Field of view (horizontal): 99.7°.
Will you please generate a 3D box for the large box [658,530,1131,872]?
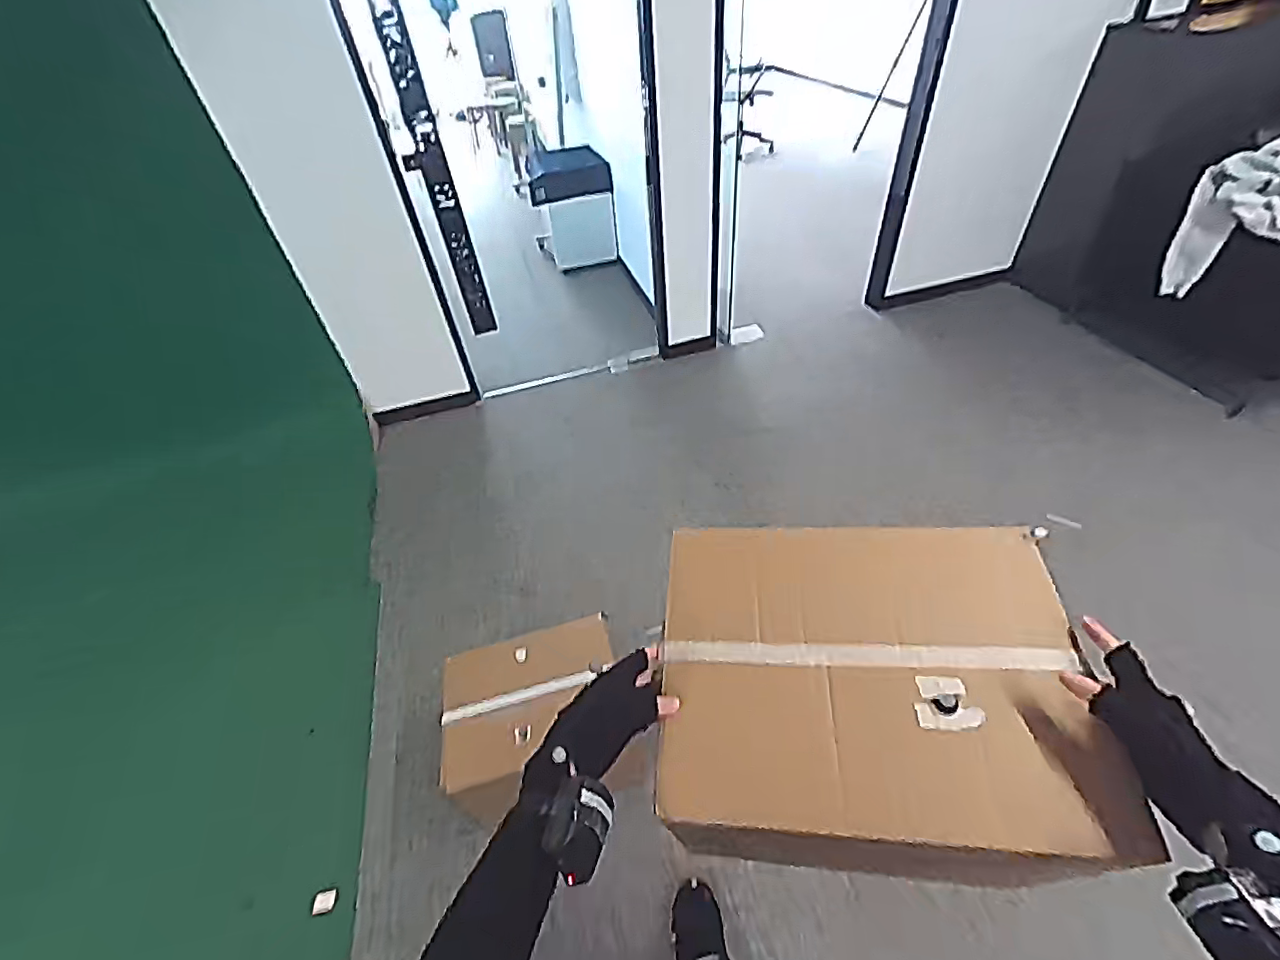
[{"bbox_3d":[0.240,0.275,0.679,0.408,0.320,0.320,-1,51,9],"label":"large box"}]
